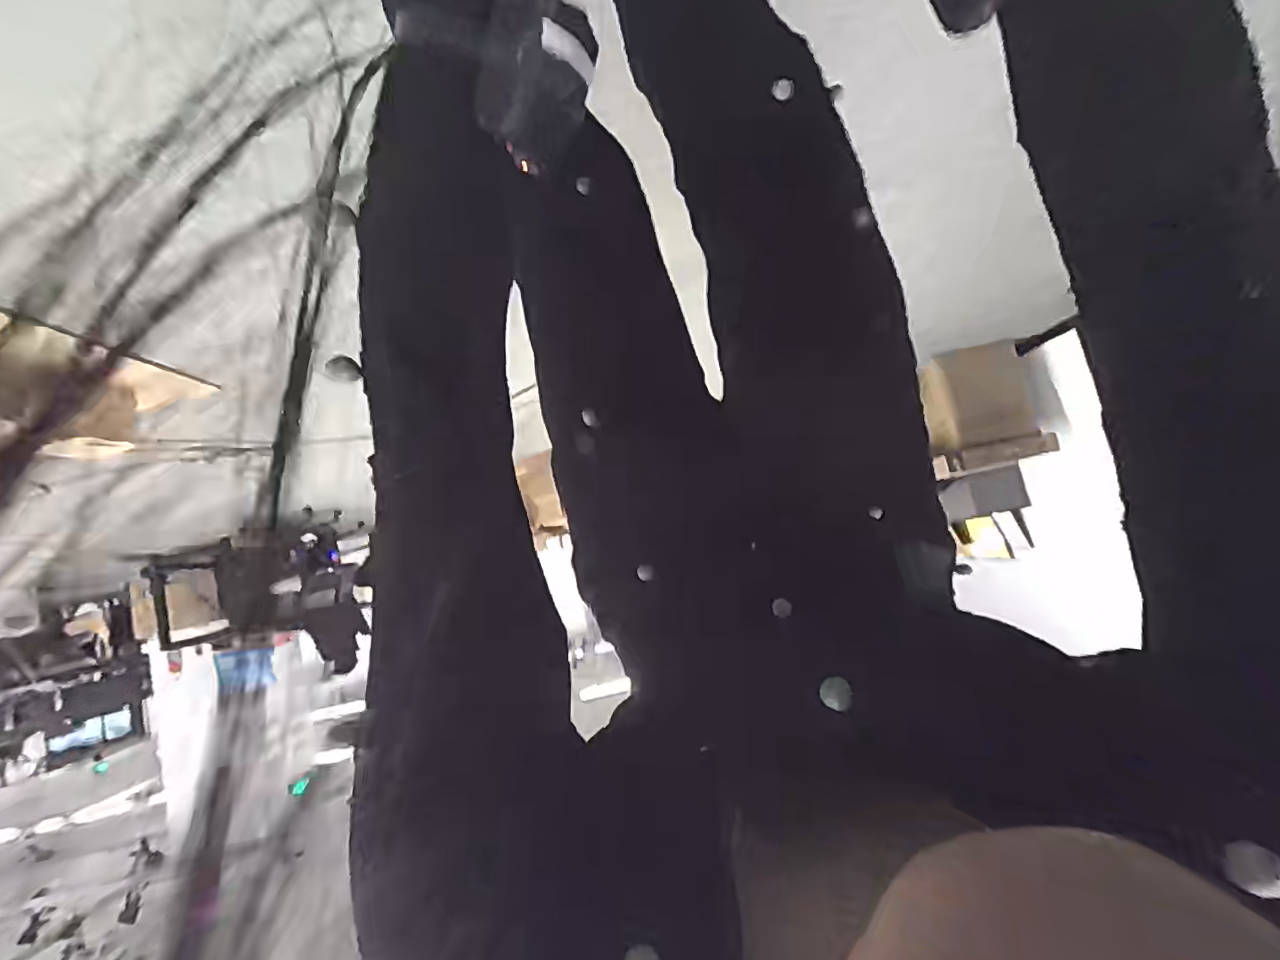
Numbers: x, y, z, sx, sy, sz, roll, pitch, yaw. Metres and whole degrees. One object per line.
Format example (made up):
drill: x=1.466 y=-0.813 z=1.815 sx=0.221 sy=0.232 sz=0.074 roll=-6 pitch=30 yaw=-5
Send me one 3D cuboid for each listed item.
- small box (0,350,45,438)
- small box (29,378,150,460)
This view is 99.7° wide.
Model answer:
small box: x=-1.502 y=-0.195 z=1.204 sx=0.179 sy=0.176 sz=0.168 roll=-13 pitch=174 yaw=0
small box: x=-1.485 y=-0.164 z=1.453 sx=0.179 sy=0.176 sz=0.168 roll=-13 pitch=173 yaw=5
